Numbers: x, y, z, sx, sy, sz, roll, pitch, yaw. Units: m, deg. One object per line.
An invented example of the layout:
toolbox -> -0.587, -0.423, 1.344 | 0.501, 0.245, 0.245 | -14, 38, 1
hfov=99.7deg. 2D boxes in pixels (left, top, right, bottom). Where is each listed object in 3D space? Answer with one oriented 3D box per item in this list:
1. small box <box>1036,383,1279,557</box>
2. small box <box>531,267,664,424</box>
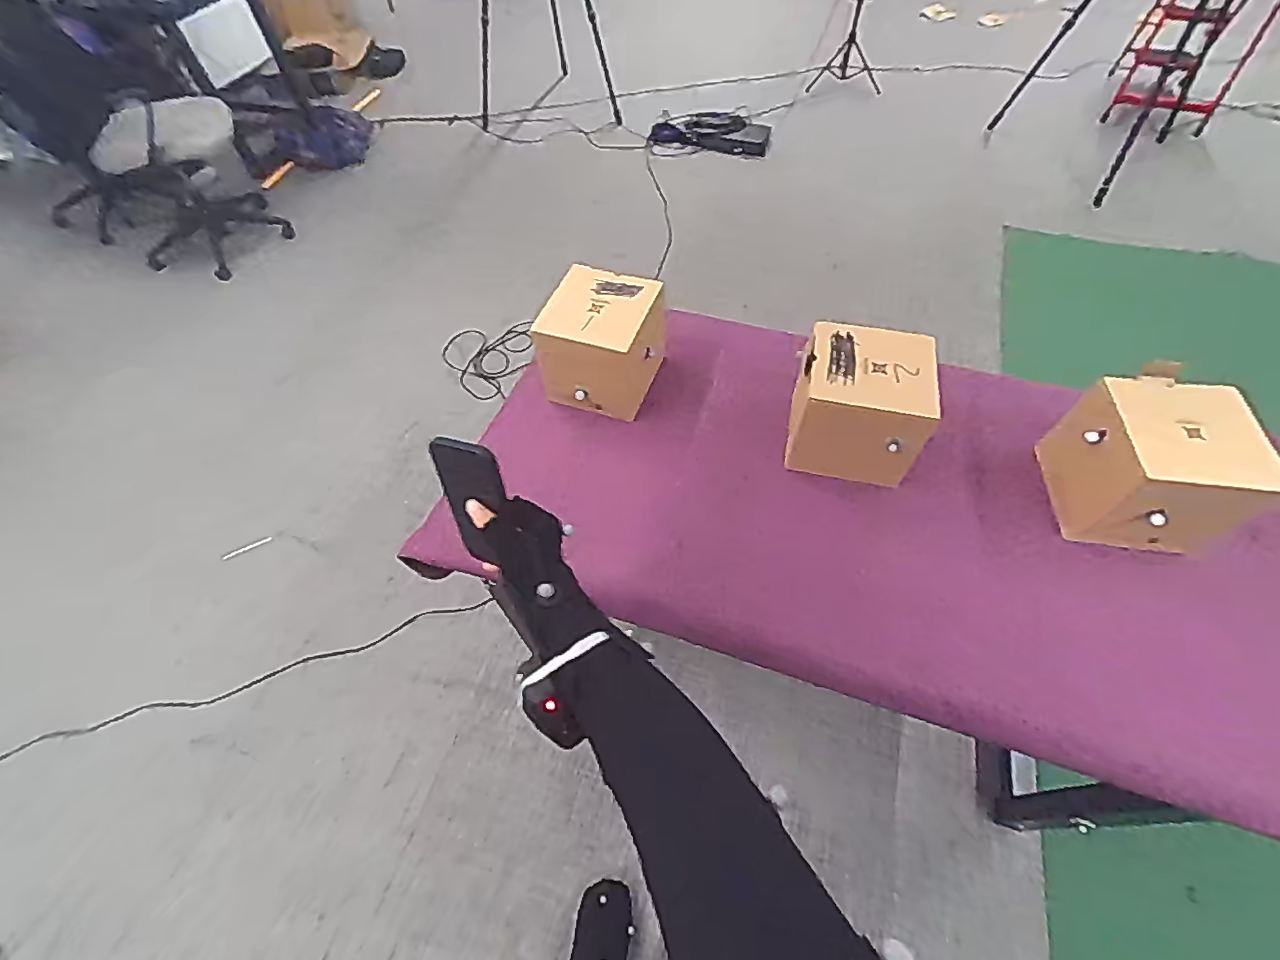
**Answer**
small box -> 0.700, -0.009, 0.754 | 0.168, 0.176, 0.179 | 6, 55, 7
small box -> -0.065, -0.229, 0.929 | 0.168, 0.176, 0.179 | 17, 59, 13
